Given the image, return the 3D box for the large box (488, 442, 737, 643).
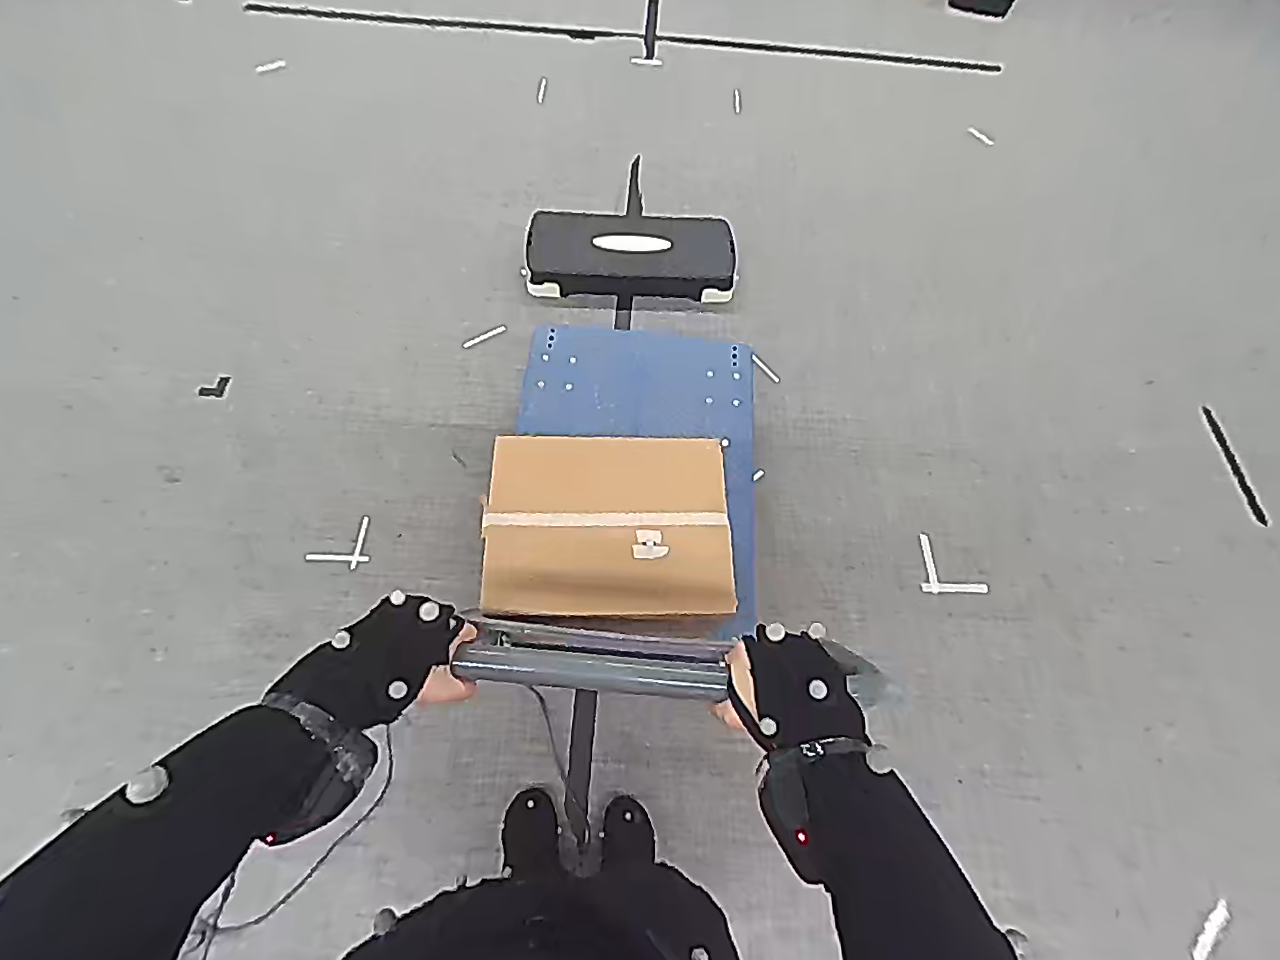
[{"bbox_3d":[-0.058,0.133,1.046,0.408,0.320,0.320,1,67,-5],"label":"large box"}]
